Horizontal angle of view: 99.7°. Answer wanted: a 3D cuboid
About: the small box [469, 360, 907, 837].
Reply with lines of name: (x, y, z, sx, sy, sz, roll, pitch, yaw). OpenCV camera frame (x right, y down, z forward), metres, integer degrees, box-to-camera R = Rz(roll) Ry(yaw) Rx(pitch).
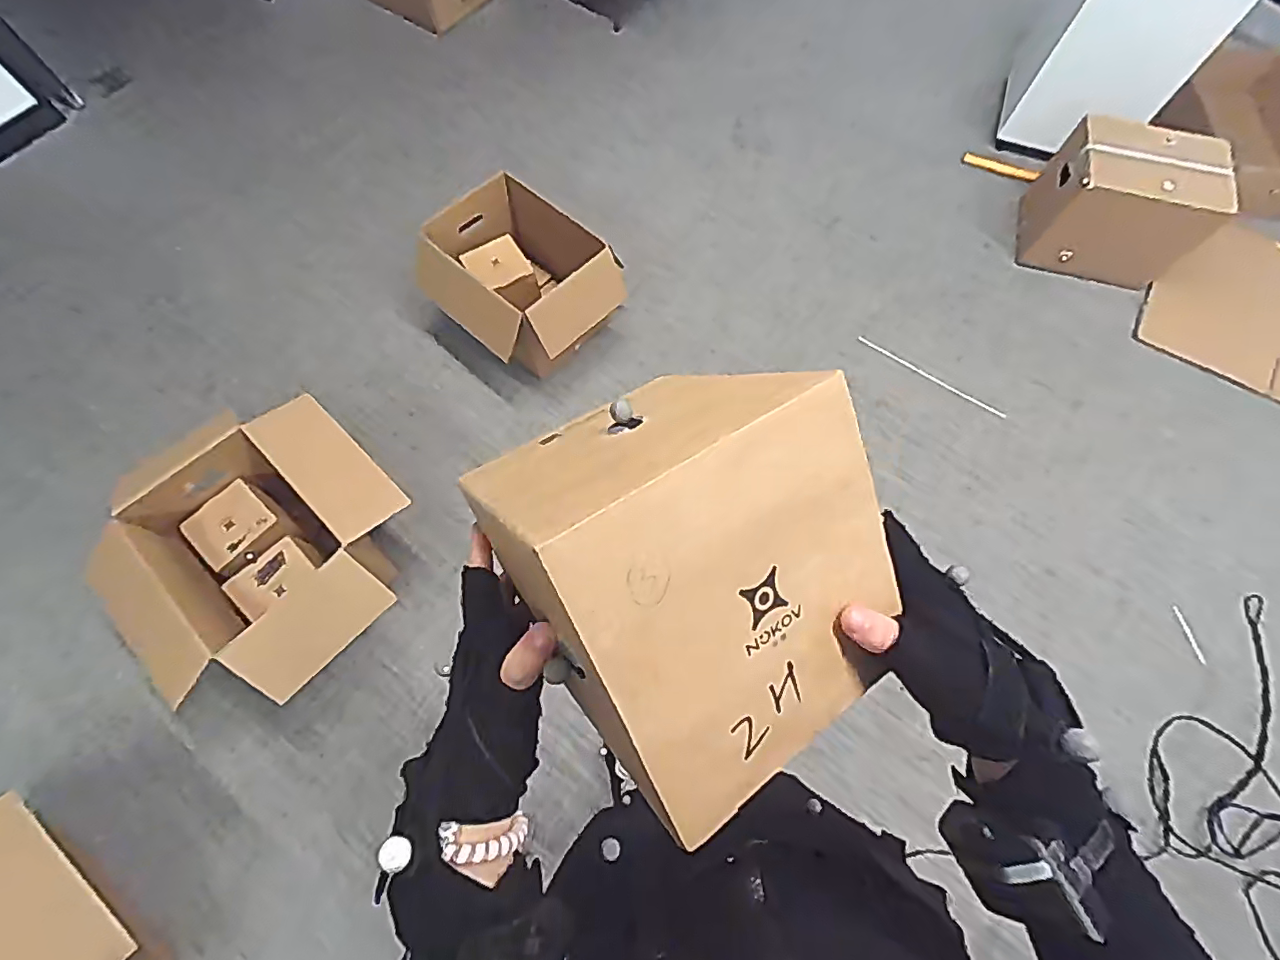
small box: (0.019, 0.044, 0.321, 0.168, 0.176, 0.179, -29, 111, -21)
